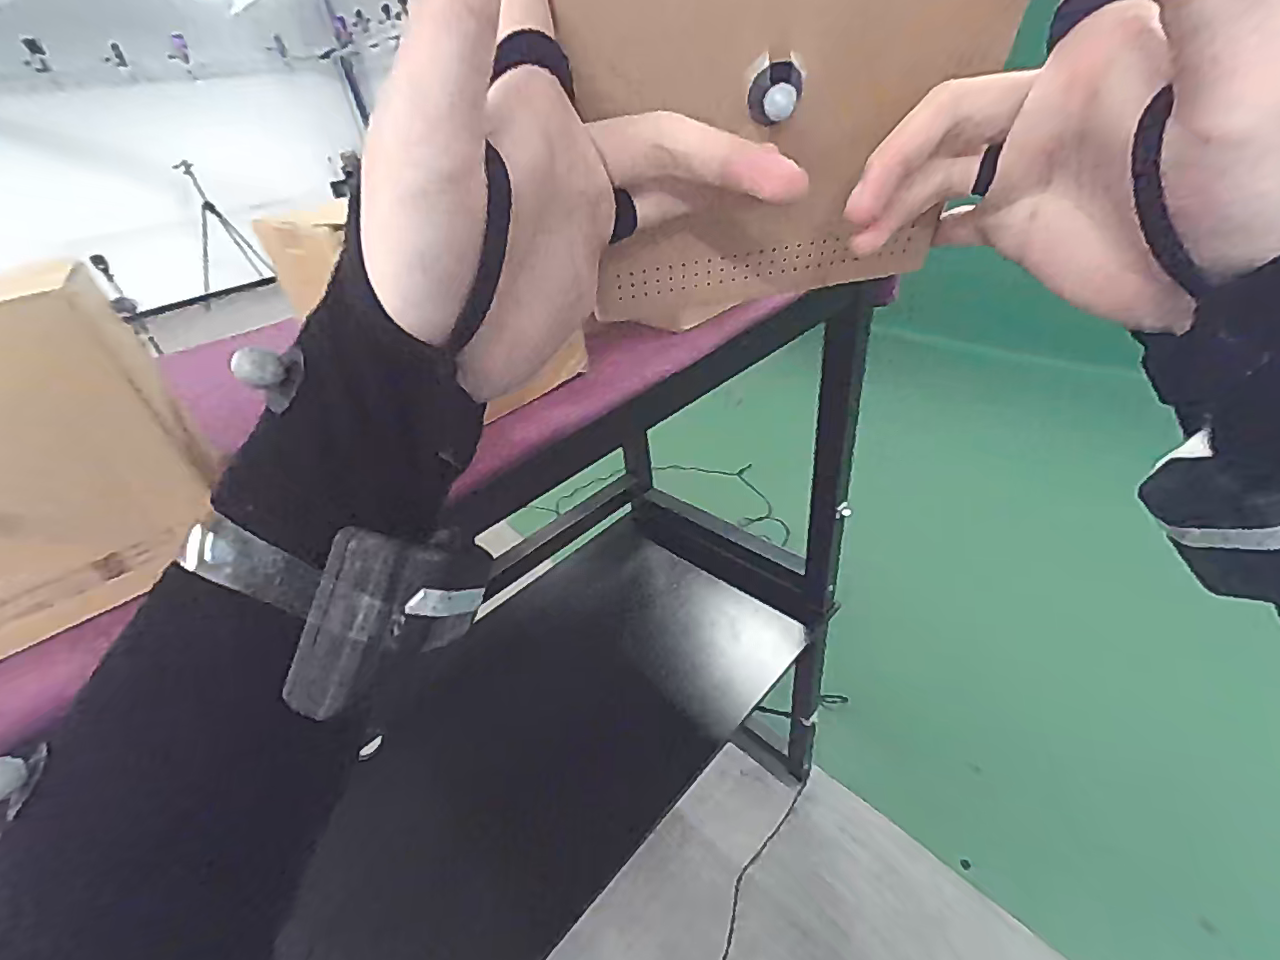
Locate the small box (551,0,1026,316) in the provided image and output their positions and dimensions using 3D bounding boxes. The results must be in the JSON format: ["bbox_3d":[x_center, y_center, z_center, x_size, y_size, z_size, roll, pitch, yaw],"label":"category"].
[{"bbox_3d":[0.050,-0.207,0.265,0.179,0.176,0.168,-11,54,-3],"label":"small box"}]

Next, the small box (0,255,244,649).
[{"bbox_3d":[-0.373,-0.017,0.319,0.168,0.176,0.179,-32,40,-29],"label":"small box"}]

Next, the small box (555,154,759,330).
[{"bbox_3d":[0.036,-0.284,0.607,0.168,0.176,0.179,26,49,38],"label":"small box"}]
